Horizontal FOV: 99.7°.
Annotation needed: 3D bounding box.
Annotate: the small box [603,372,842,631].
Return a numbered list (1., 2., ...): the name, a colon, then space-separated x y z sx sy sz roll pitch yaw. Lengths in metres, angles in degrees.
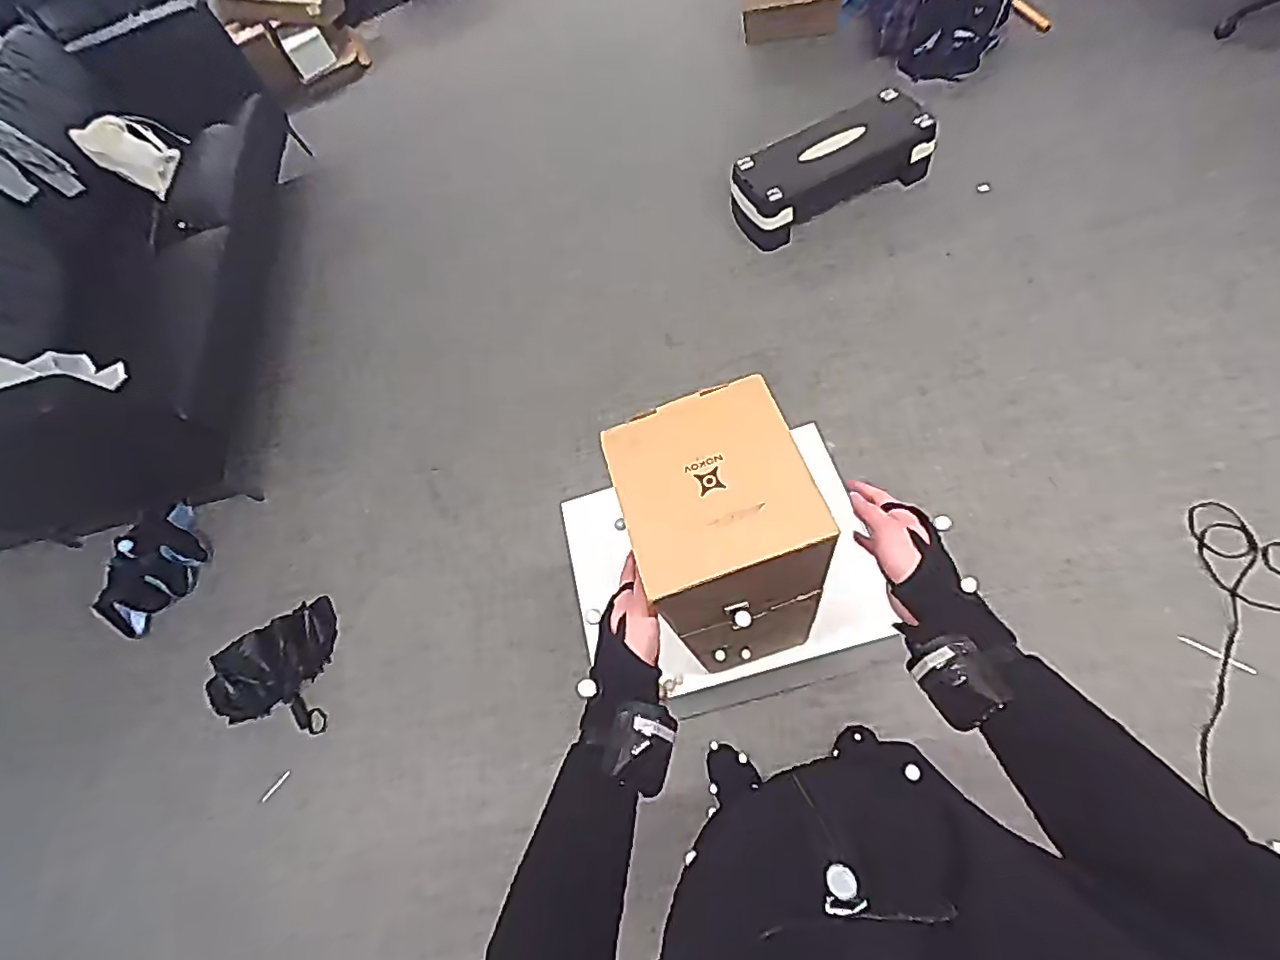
1. small box: 0.079 0.030 0.545 0.168 0.176 0.179 -21 61 3

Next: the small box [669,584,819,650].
1. small box: 0.112 0.104 0.687 0.168 0.176 0.179 -20 60 3

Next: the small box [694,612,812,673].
1. small box: 0.147 0.176 0.831 0.168 0.176 0.179 -21 60 3
